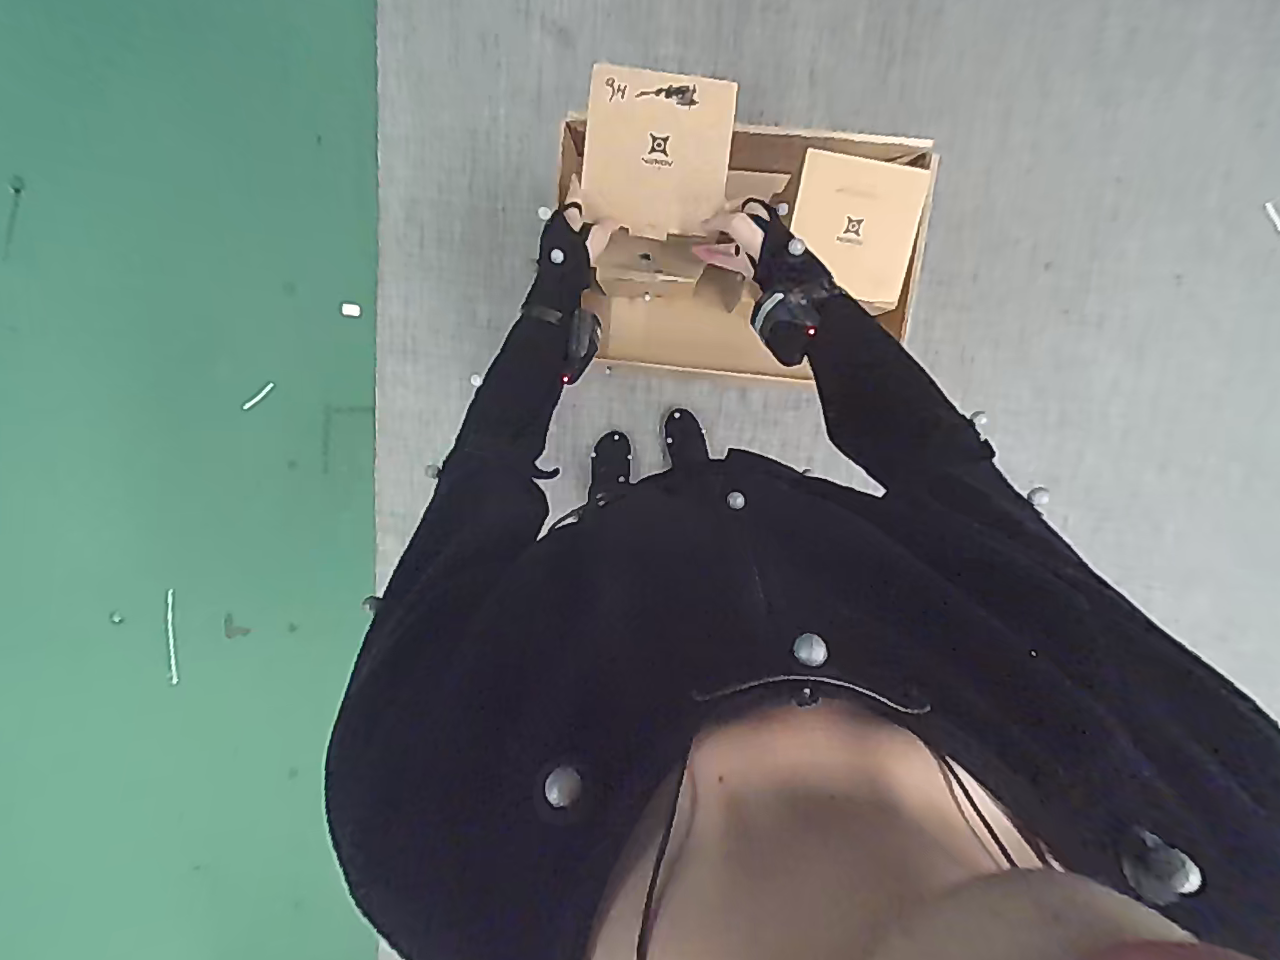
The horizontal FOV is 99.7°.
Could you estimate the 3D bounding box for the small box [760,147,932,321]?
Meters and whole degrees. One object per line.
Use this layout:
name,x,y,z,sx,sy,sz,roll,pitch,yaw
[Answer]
small box,0.279,-0.337,0.778,0.168,0.176,0.179,11,100,0

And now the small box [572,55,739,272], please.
small box,0.014,-0.375,0.677,0.168,0.176,0.179,8,98,-3

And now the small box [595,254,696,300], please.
small box,0.014,-0.421,0.940,0.168,0.176,0.179,3,100,2
